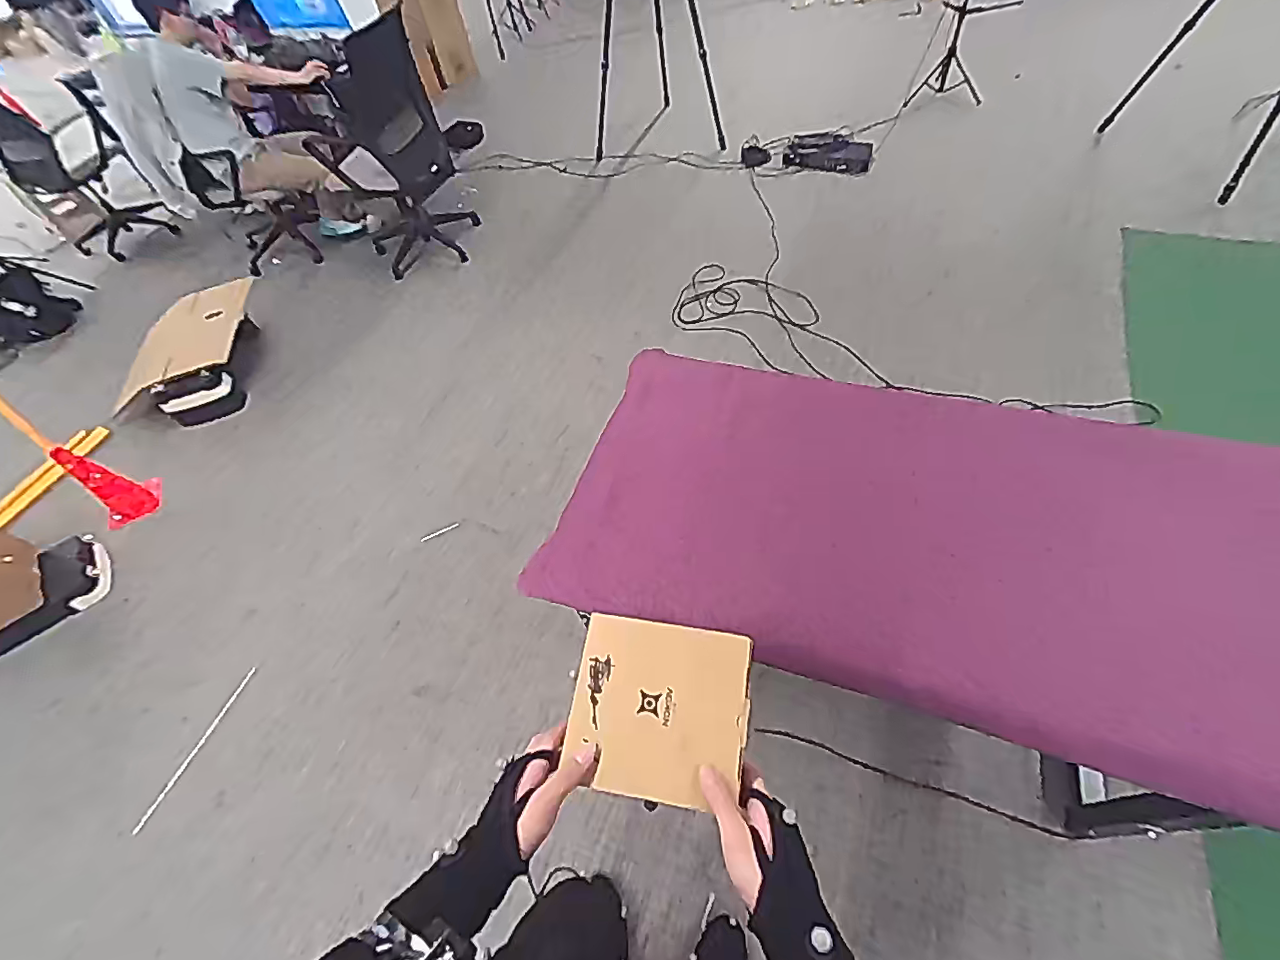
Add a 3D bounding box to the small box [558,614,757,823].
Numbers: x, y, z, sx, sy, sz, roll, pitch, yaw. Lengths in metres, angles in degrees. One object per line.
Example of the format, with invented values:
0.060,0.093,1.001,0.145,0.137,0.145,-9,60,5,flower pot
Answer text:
0.026,0.263,0.606,0.179,0.176,0.168,8,63,8,small box
